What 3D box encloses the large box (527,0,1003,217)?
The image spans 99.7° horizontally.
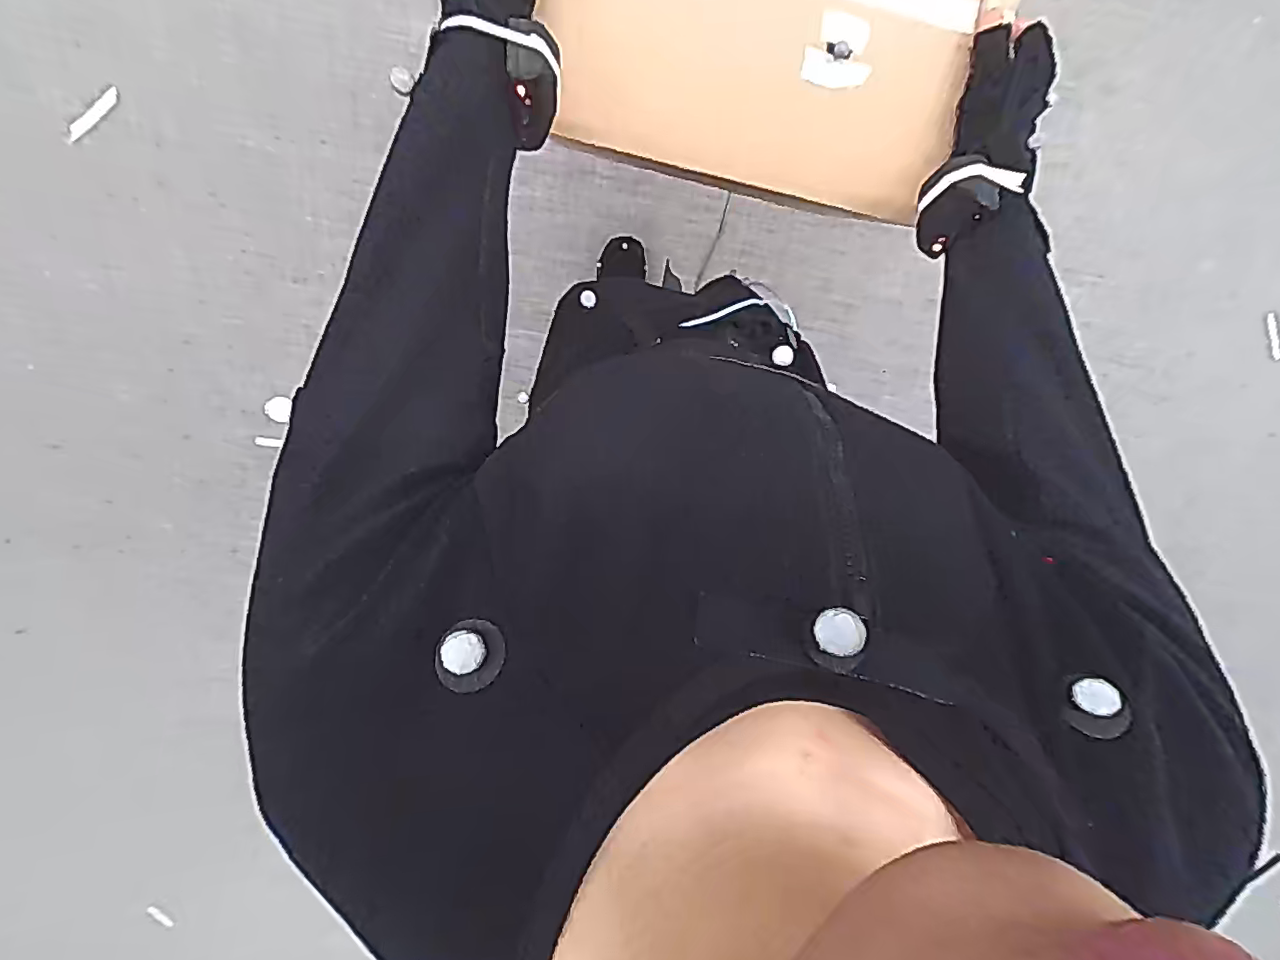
[{"bbox_3d":[0.112,-0.503,0.588,0.408,0.320,0.320,11,119,-7],"label":"large box"}]
